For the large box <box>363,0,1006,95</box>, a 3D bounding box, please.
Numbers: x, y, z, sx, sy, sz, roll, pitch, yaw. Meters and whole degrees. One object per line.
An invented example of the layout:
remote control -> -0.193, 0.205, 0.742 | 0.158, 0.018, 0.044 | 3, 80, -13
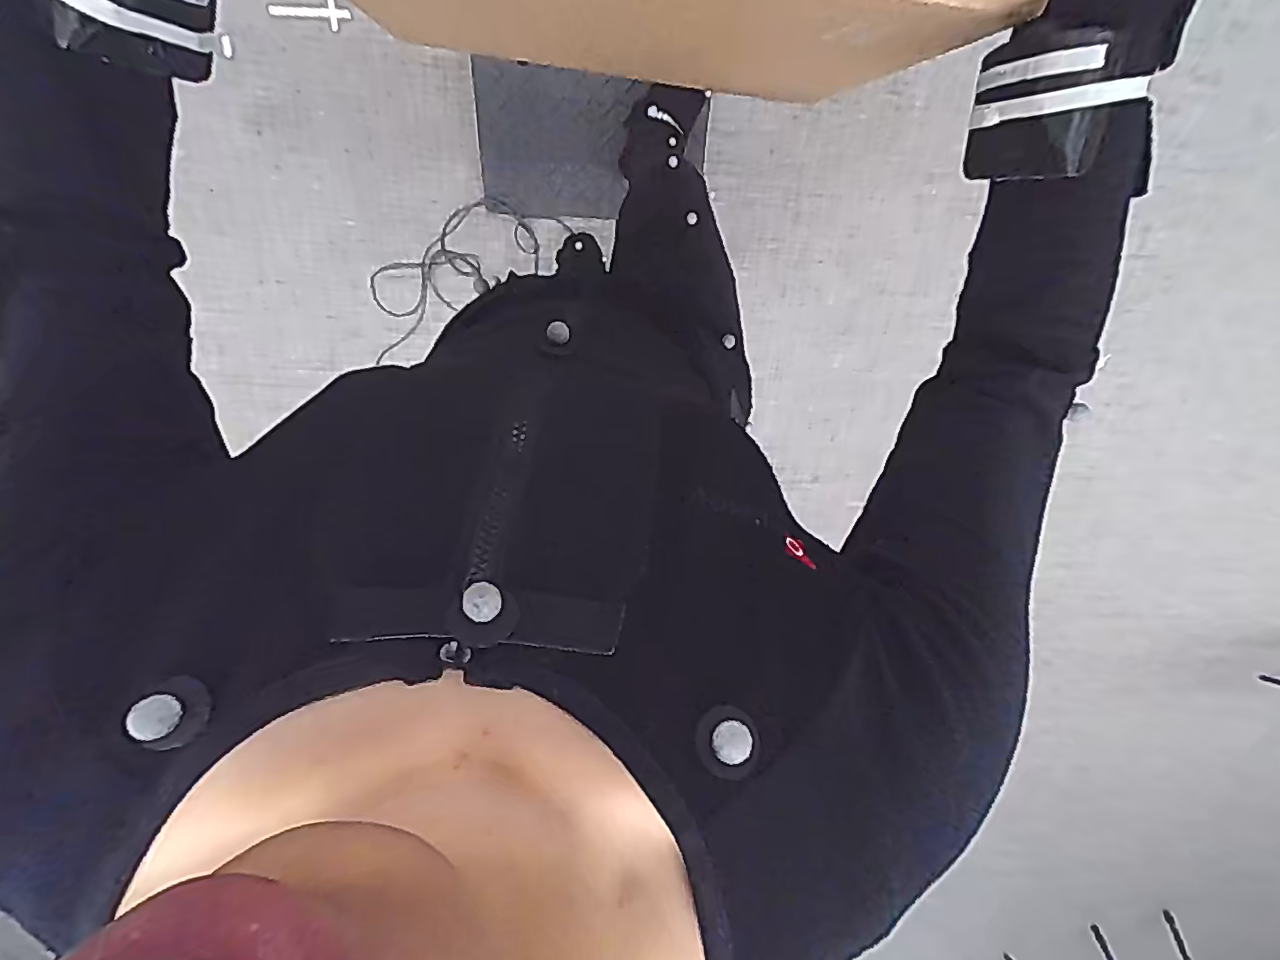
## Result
large box -> 0.005, -0.463, 0.325 | 0.408, 0.320, 0.320 | 3, 118, -8

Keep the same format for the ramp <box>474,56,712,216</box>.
ramp -> -0.076, -1.026, 0.967 | 0.509, 0.206, 0.991 | -2, 117, -5
